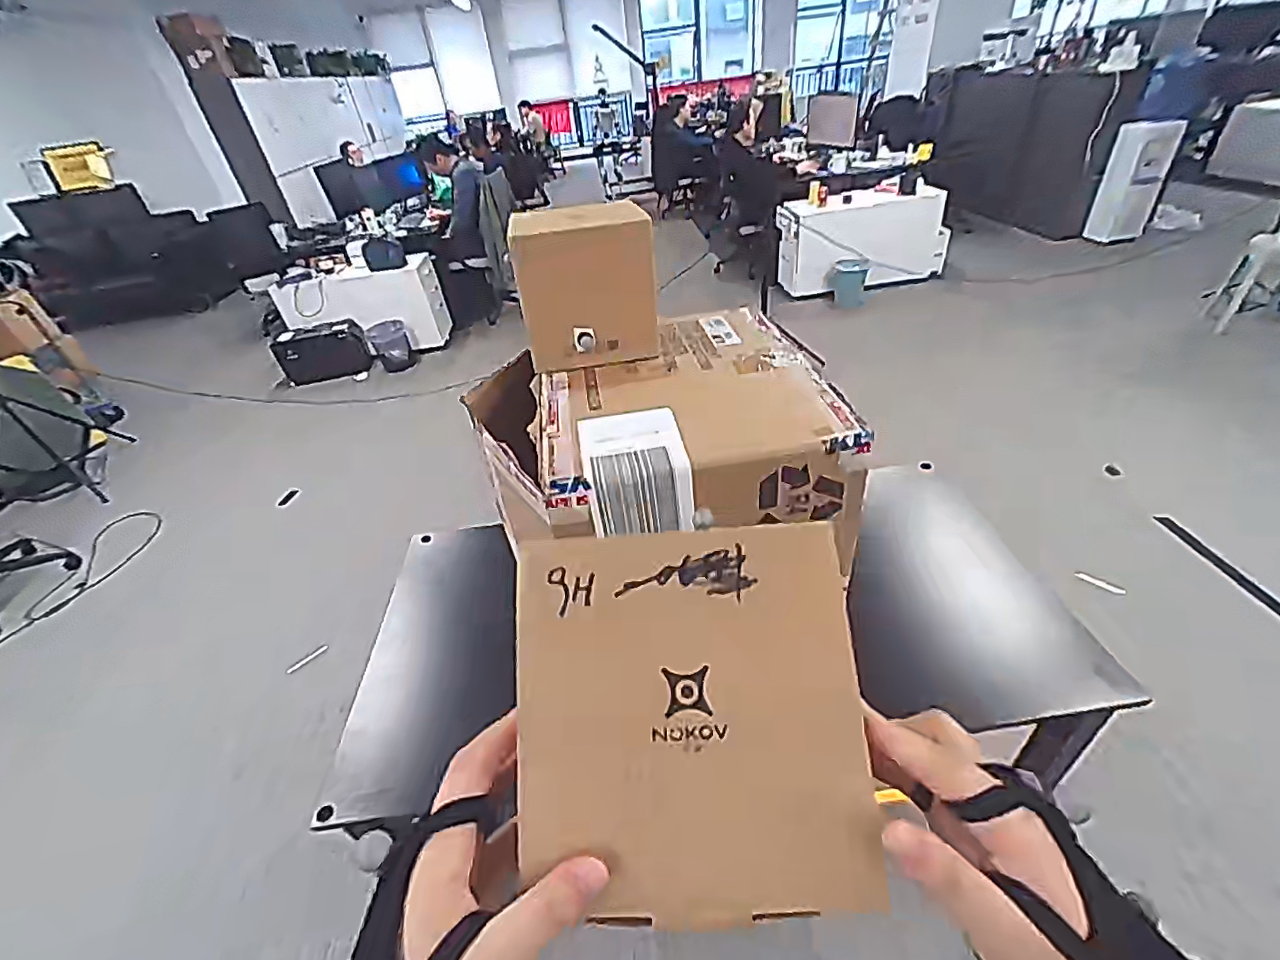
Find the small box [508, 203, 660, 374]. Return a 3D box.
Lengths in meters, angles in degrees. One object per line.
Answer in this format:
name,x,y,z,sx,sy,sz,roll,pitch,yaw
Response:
small box,-0.073,-0.257,0.721,0.168,0.176,0.179,-11,35,-5
